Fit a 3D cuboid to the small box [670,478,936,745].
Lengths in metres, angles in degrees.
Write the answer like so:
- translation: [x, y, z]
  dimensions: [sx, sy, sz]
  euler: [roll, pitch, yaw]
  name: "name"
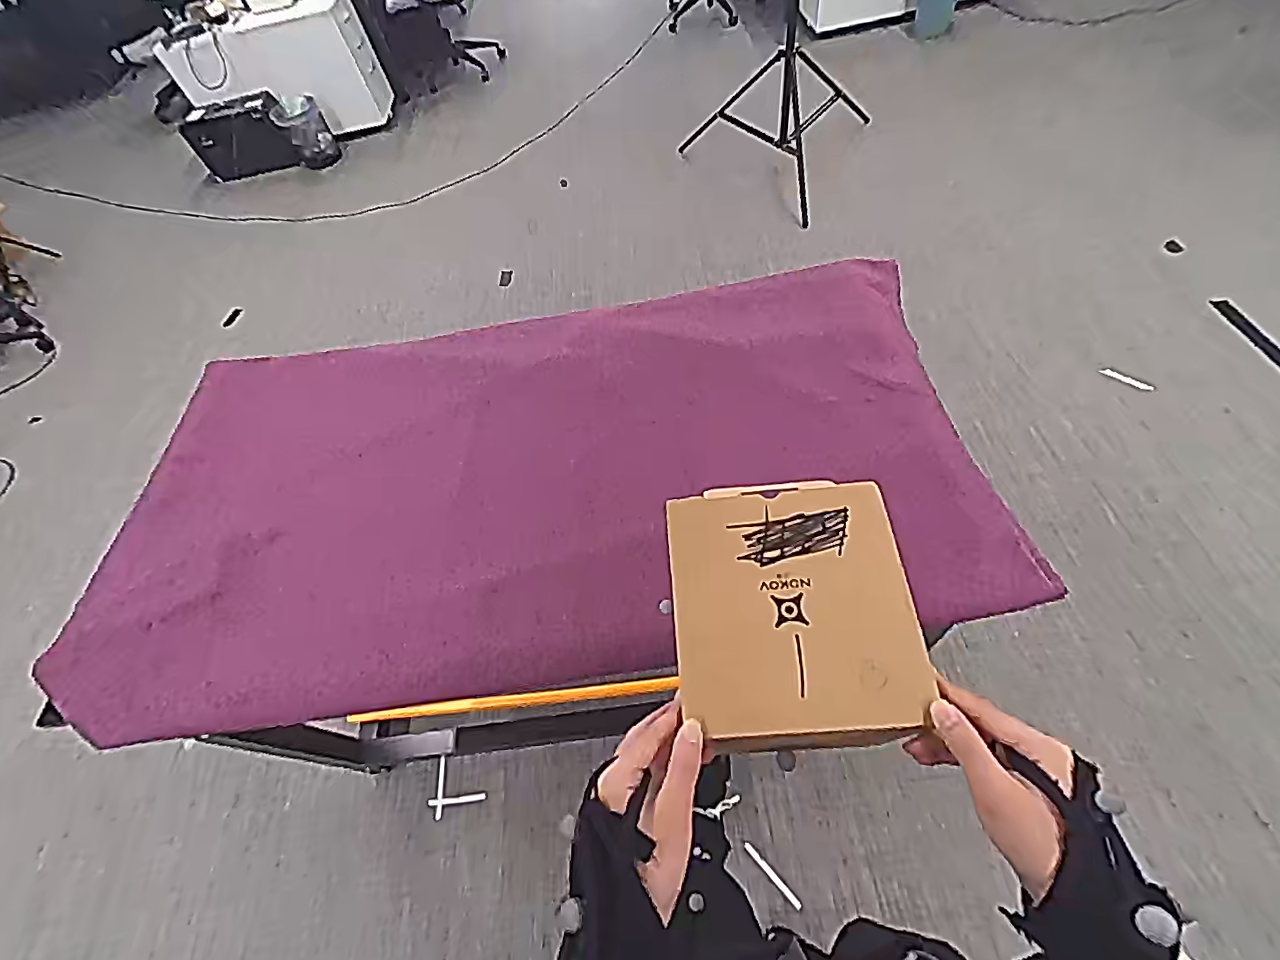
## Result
- translation: [0.114, 0.119, 0.459]
  dimensions: [0.168, 0.176, 0.179]
  euler: [-6, 60, 5]
  name: "small box"
